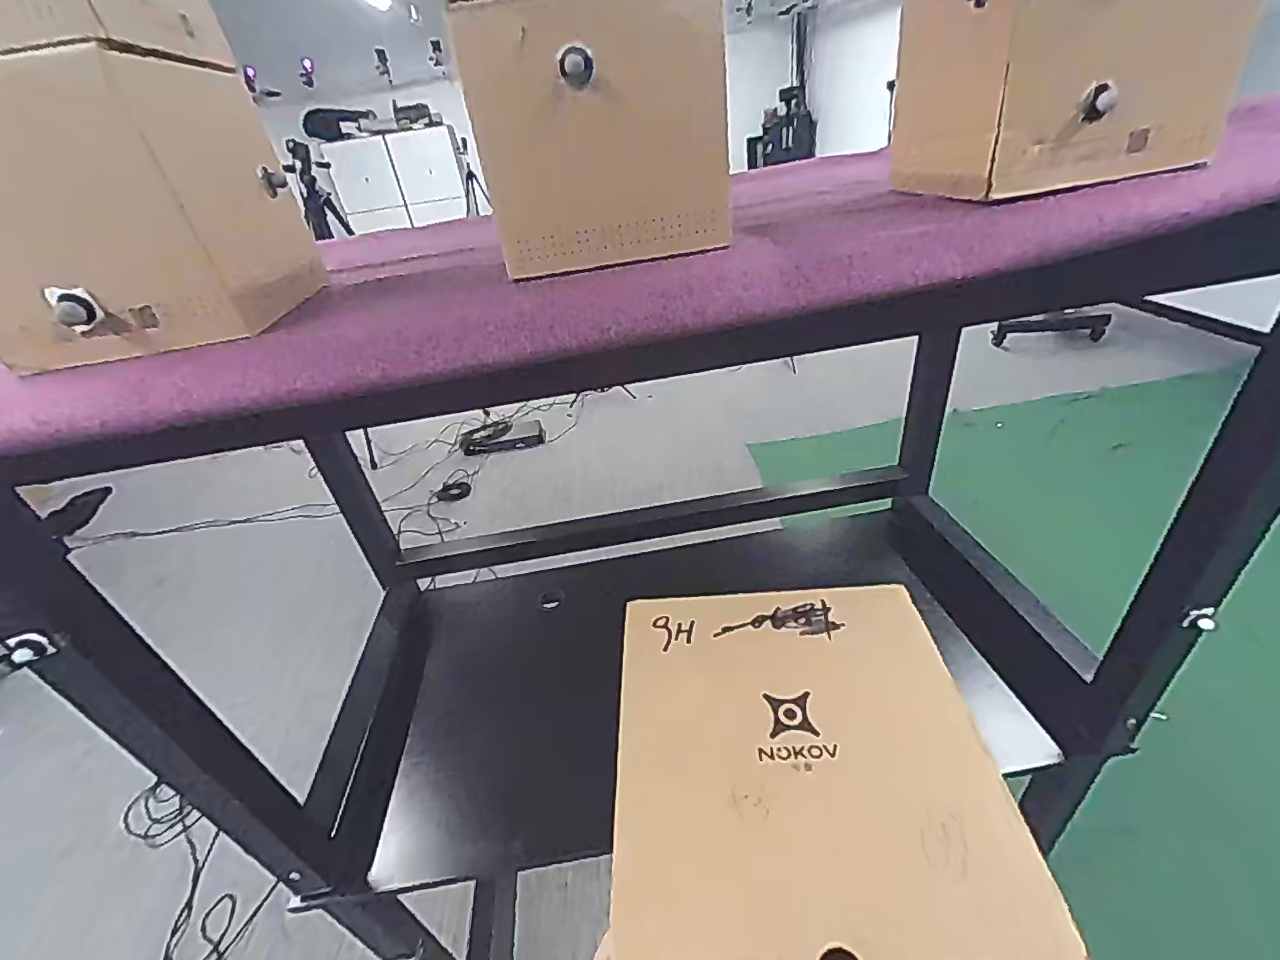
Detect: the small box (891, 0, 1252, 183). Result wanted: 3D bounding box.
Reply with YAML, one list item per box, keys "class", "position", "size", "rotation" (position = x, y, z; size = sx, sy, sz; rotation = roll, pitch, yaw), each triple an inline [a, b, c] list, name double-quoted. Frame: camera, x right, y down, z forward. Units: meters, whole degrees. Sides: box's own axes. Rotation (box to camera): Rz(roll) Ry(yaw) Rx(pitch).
- class: "small box"
  position: [0.319, -0.343, 0.430]
  size: [0.168, 0.176, 0.179]
  rotation: [-10, 31, 2]

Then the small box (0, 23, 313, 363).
- class: "small box"
  position: [-0.376, -0.203, 0.395]
  size: [0.168, 0.176, 0.179]
  rotation: [-13, 35, -4]

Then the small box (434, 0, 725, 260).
- class: "small box"
  position: [-0.037, -0.284, 0.431]
  size: [0.179, 0.176, 0.168]
  rotation: [-9, 32, -1]

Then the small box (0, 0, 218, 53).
- class: "small box"
  position: [-0.404, -0.338, 0.305]
  size: [0.179, 0.176, 0.168]
  rotation: [-13, 34, -4]
